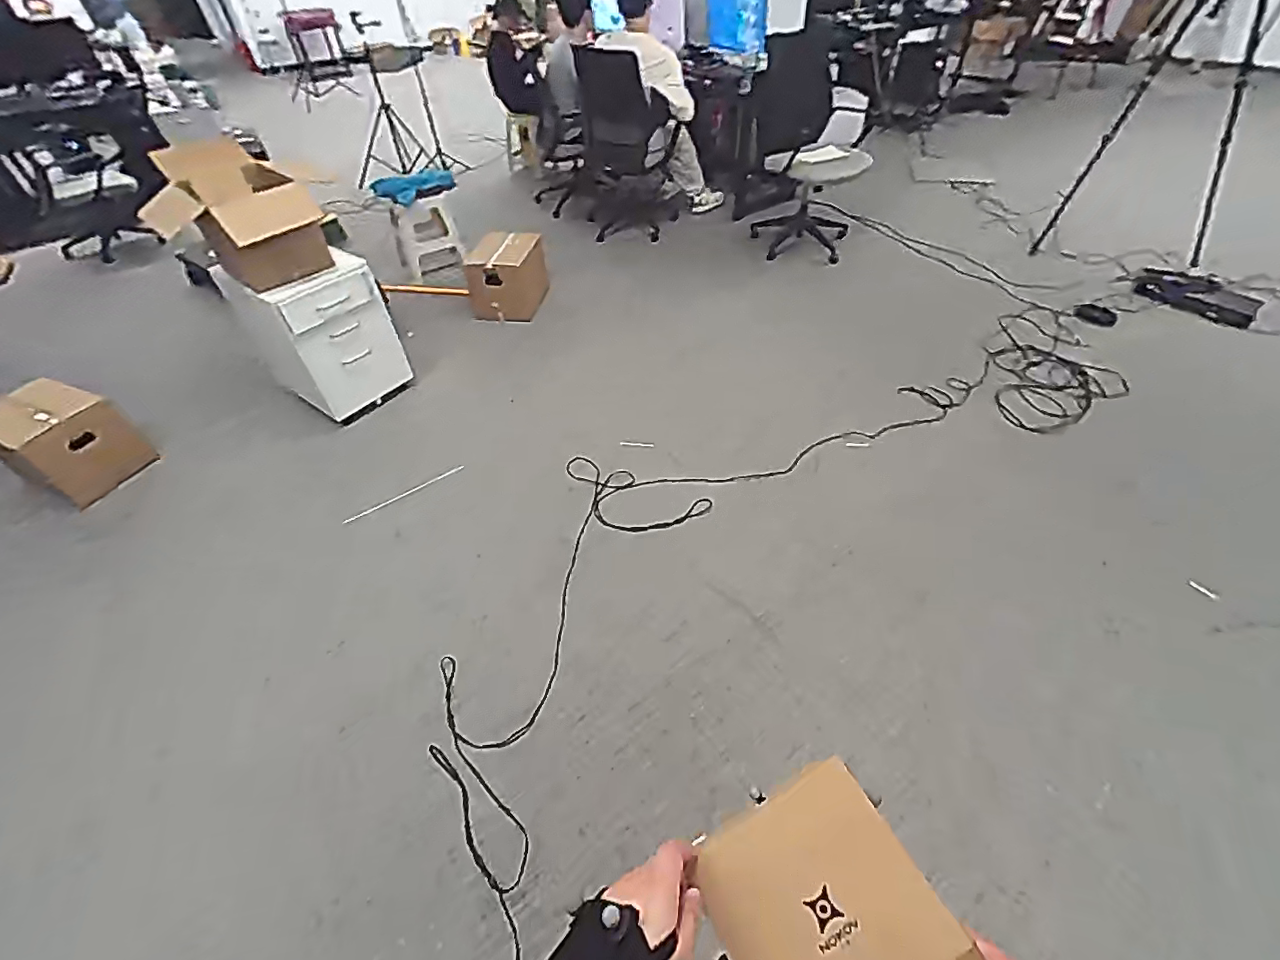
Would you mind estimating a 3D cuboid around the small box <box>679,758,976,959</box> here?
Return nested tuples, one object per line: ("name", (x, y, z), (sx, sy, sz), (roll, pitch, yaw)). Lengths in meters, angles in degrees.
("small box", (0.153, 0.380, 0.483), (0.168, 0.176, 0.179), (-31, 61, -8))
